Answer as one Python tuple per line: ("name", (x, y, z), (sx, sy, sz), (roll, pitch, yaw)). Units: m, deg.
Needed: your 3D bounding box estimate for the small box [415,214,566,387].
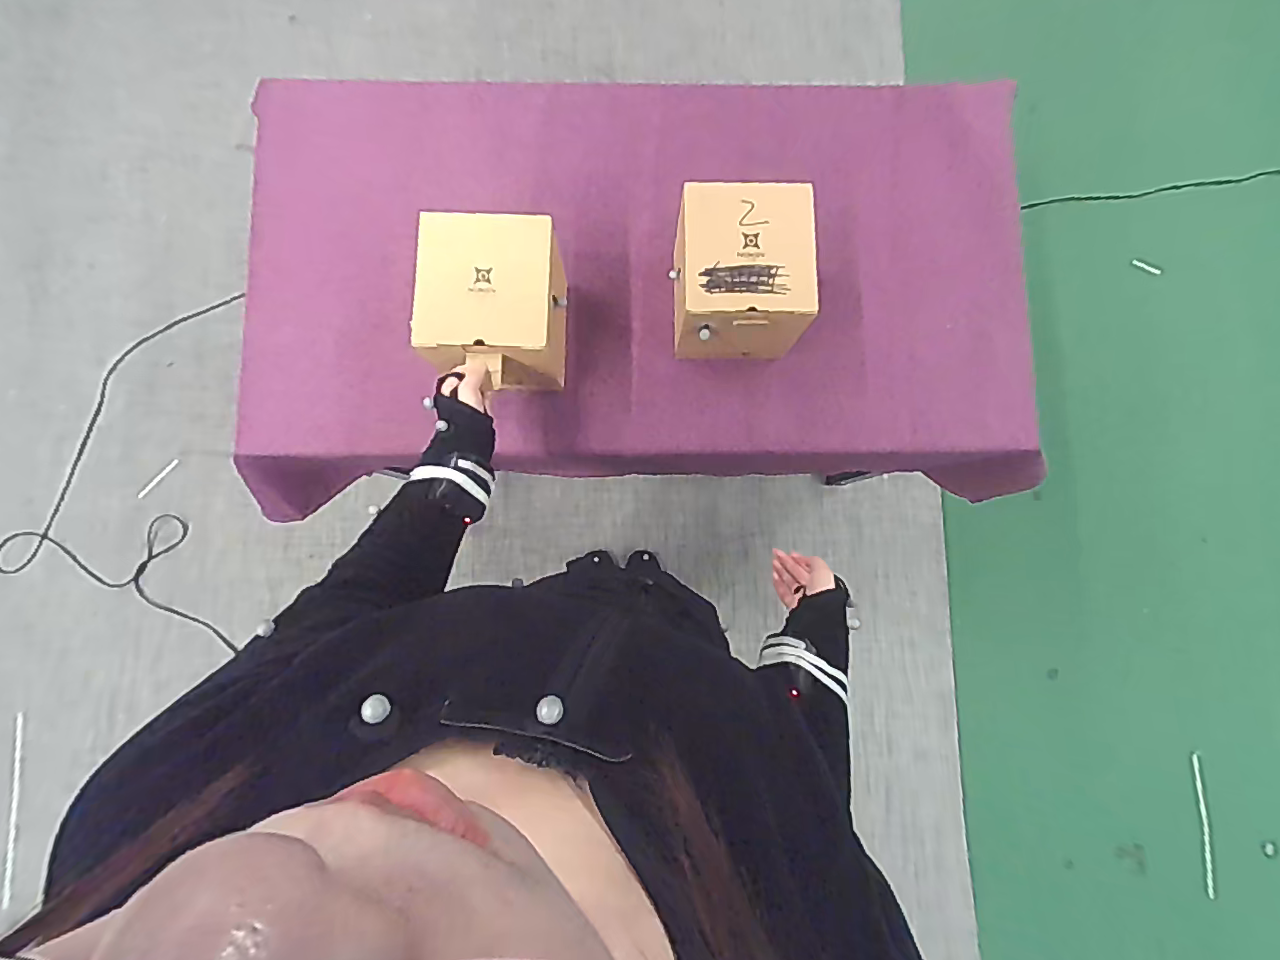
("small box", (-0.197, -0.242, 0.760), (0.168, 0.176, 0.179), (1, 83, -1))
